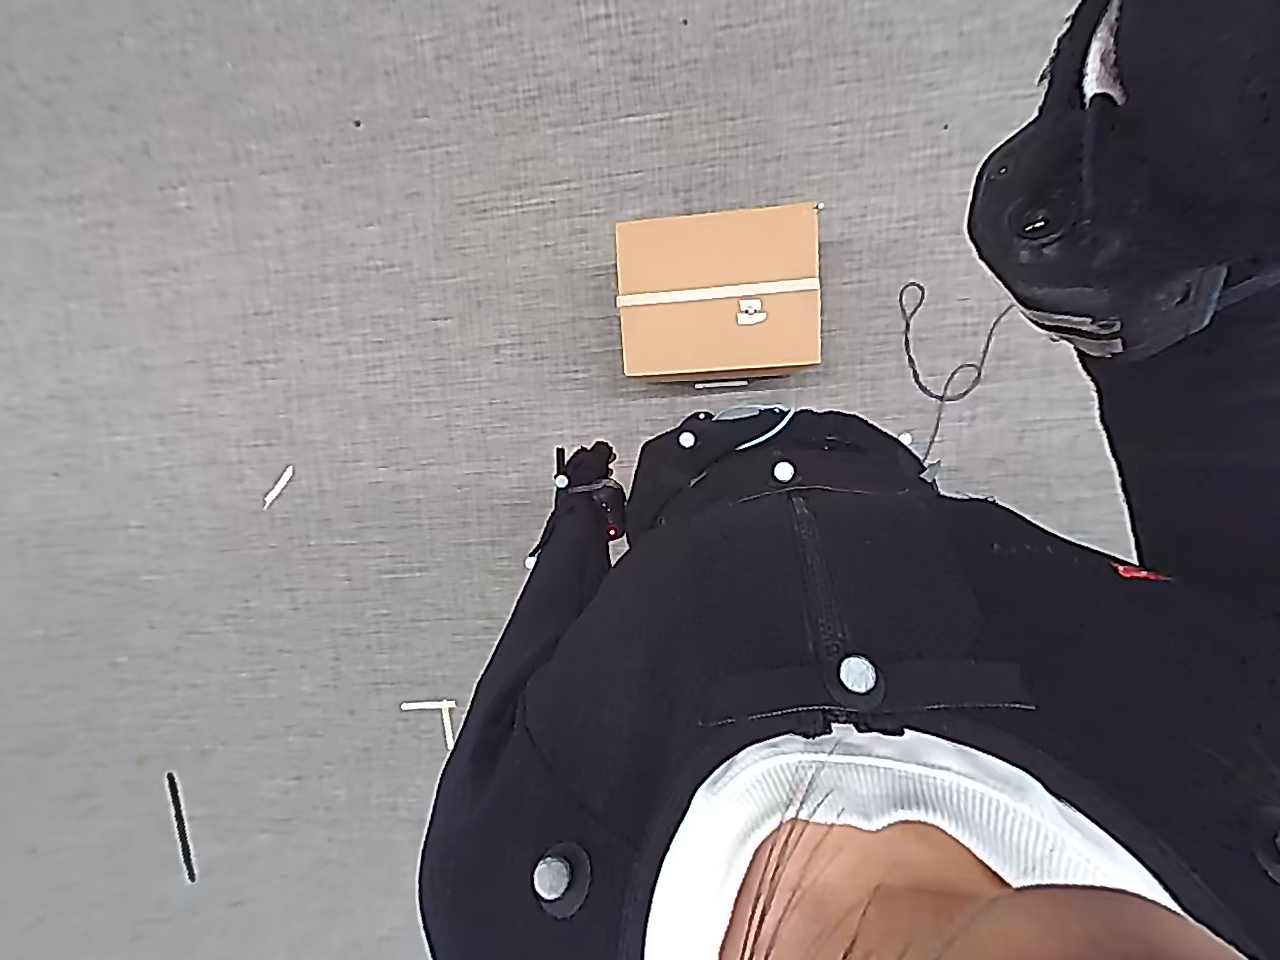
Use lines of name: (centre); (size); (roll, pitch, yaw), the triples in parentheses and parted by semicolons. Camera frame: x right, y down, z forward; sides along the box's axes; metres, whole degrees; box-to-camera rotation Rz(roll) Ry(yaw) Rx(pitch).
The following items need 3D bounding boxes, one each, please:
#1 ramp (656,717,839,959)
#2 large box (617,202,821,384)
ramp: (0.290, 1.169, 1.484); (0.509, 0.206, 0.991); (-2, 96, 8)
large box: (0.174, -0.402, 1.249); (0.408, 0.320, 0.320); (-3, 97, 6)
